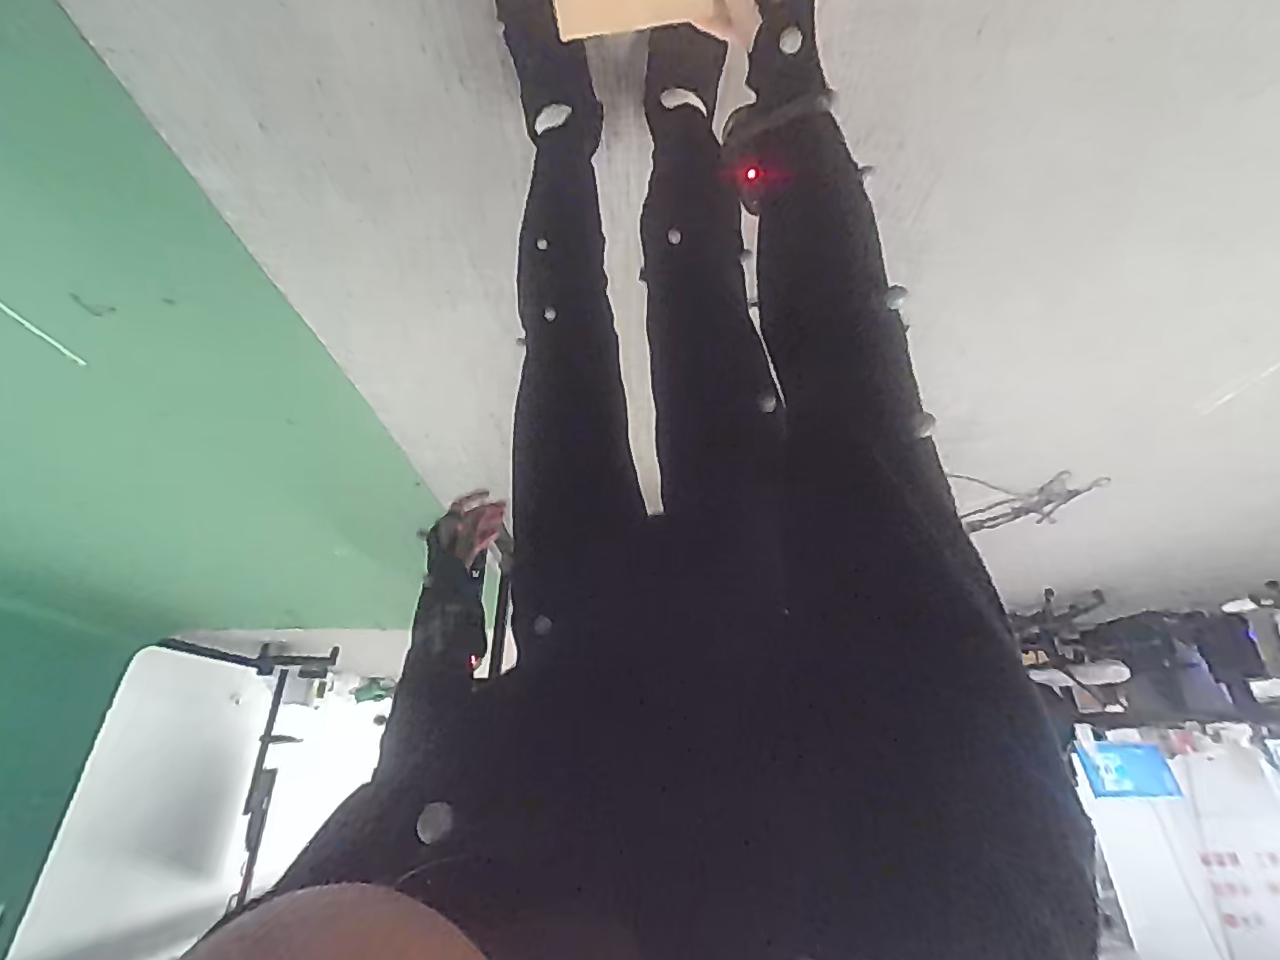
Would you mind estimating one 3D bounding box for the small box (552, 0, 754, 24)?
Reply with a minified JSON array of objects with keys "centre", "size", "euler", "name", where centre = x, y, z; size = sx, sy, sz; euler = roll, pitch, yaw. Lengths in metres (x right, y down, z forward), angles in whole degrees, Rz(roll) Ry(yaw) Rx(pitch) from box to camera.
[{"centre":[-0.001,-0.486,0.413],"size":[0.168,0.176,0.179],"euler":[-9,140,-2],"name":"small box"}]
